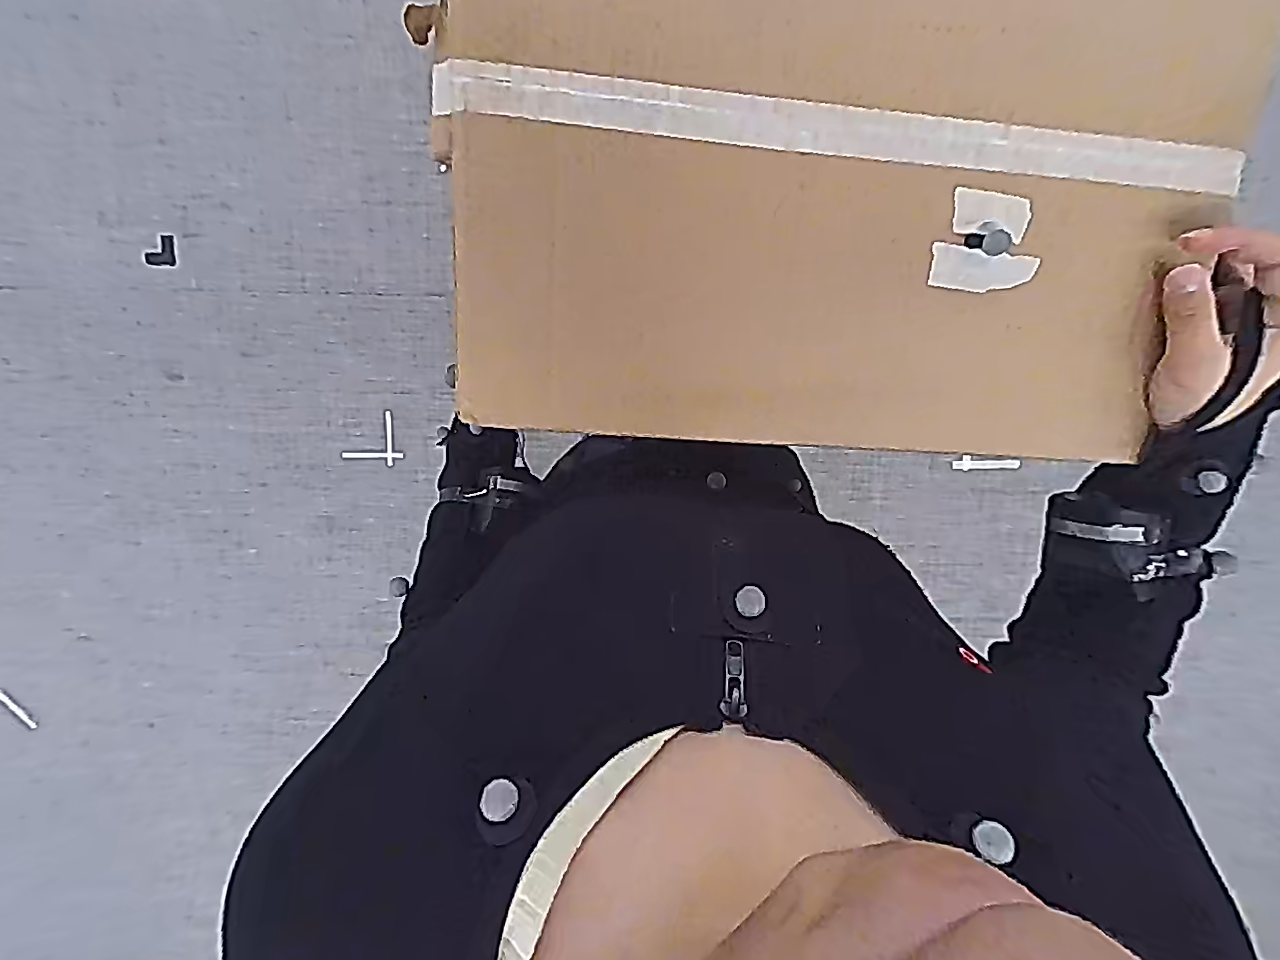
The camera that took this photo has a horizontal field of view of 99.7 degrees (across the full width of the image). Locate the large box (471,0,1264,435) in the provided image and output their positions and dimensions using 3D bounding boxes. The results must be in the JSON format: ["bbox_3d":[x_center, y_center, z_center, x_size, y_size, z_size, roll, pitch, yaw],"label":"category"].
[{"bbox_3d":[0.100,-0.218,0.419,0.408,0.320,0.320,2,106,-7],"label":"large box"}]
